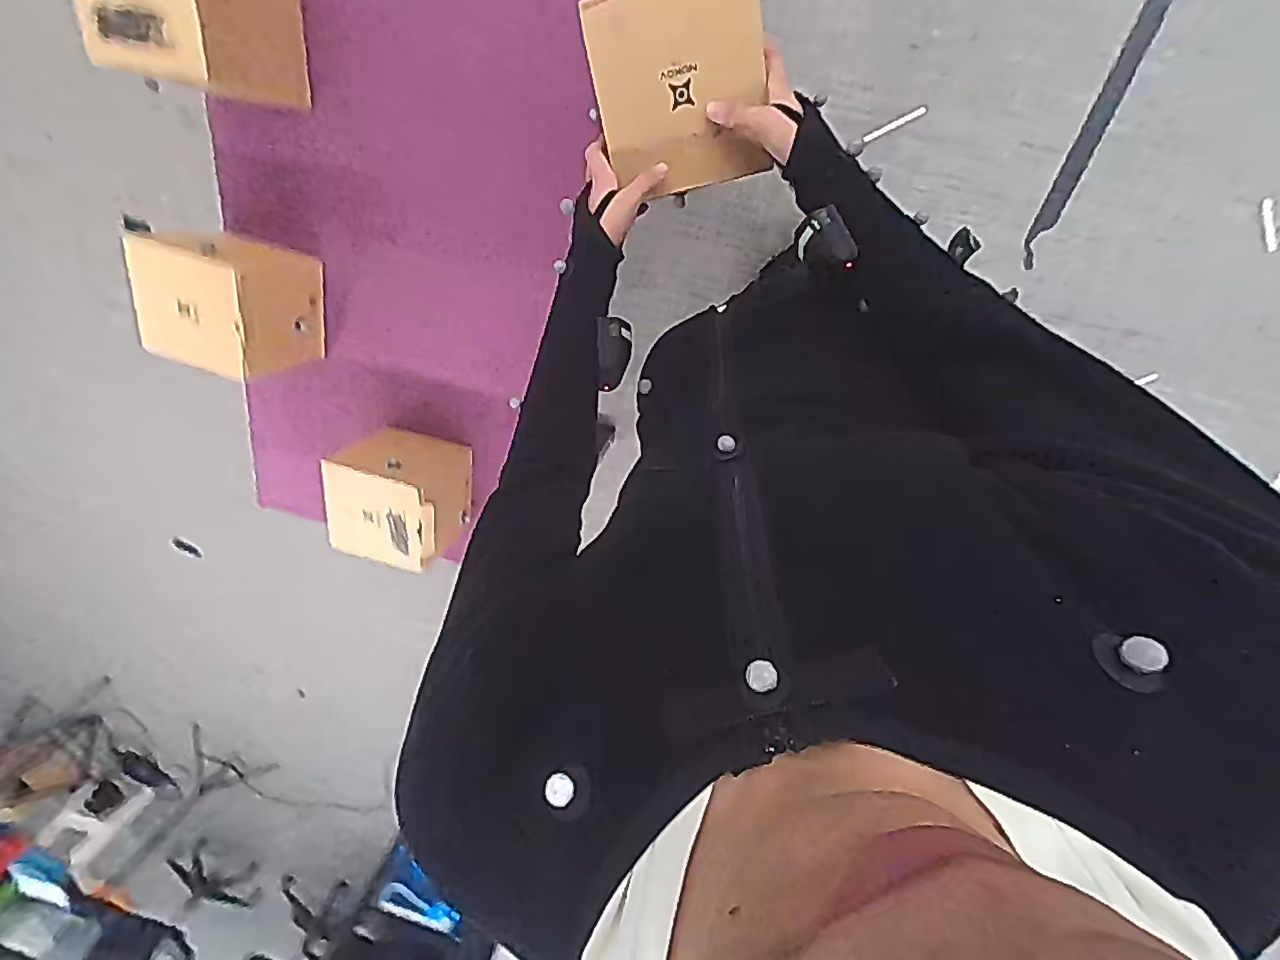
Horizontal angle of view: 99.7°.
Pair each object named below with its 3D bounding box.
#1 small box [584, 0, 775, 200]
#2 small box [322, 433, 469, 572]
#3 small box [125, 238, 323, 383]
[{"bbox_3d":[0.045,-0.418,0.591,0.168,0.176,0.179,-9,117,8],"label":"small box"},{"bbox_3d":[-0.417,0.031,0.952,0.179,0.176,0.168,14,117,7],"label":"small box"},{"bbox_3d":[-0.638,-0.272,0.852,0.179,0.176,0.168,17,117,3],"label":"small box"}]
